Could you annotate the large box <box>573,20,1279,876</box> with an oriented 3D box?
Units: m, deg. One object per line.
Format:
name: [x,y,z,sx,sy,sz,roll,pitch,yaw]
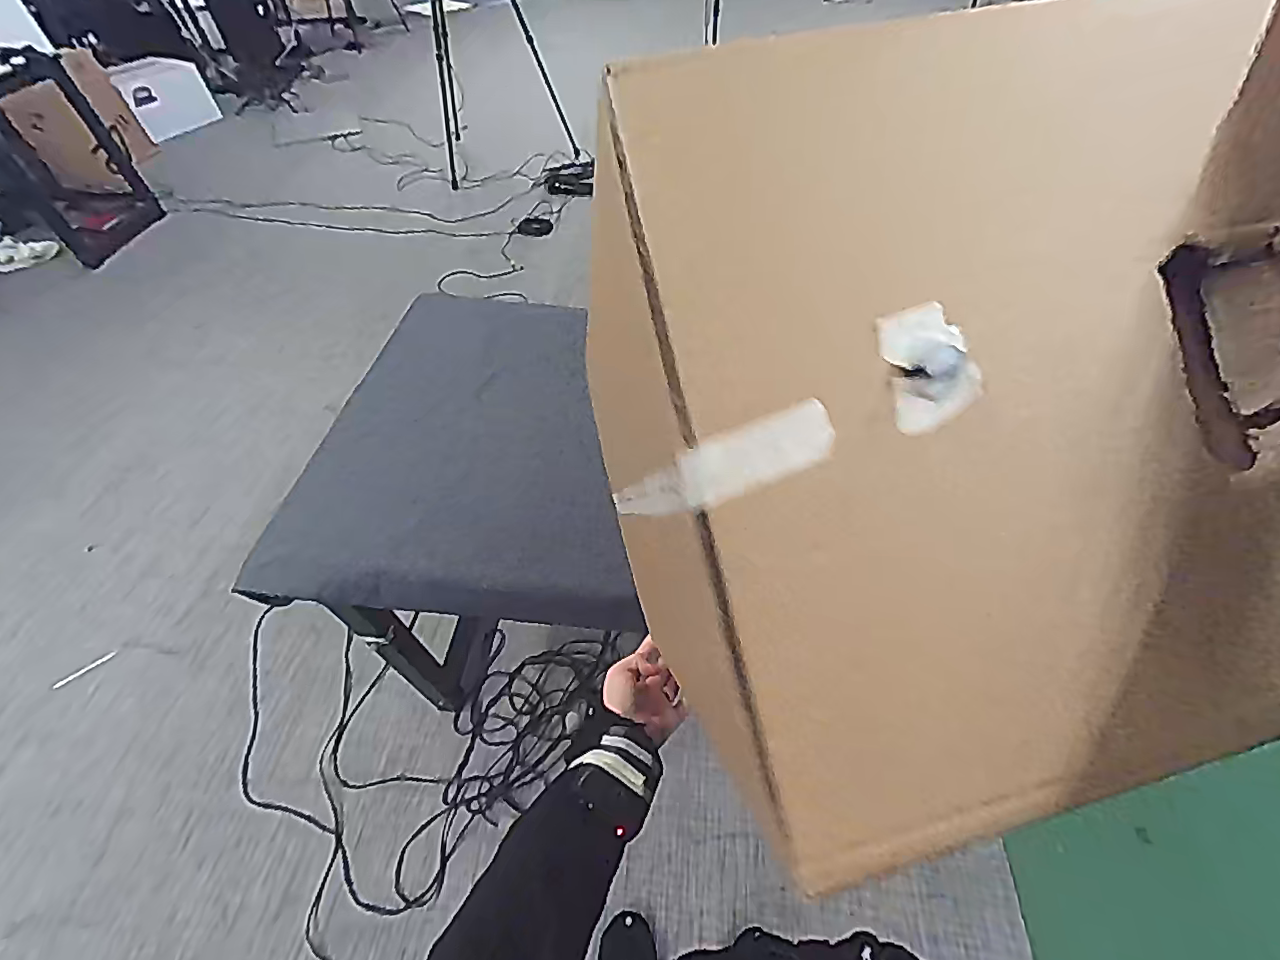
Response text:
large box: [0.140,-0.023,0.415,0.320,0.408,0.320,-14,89,-9]
